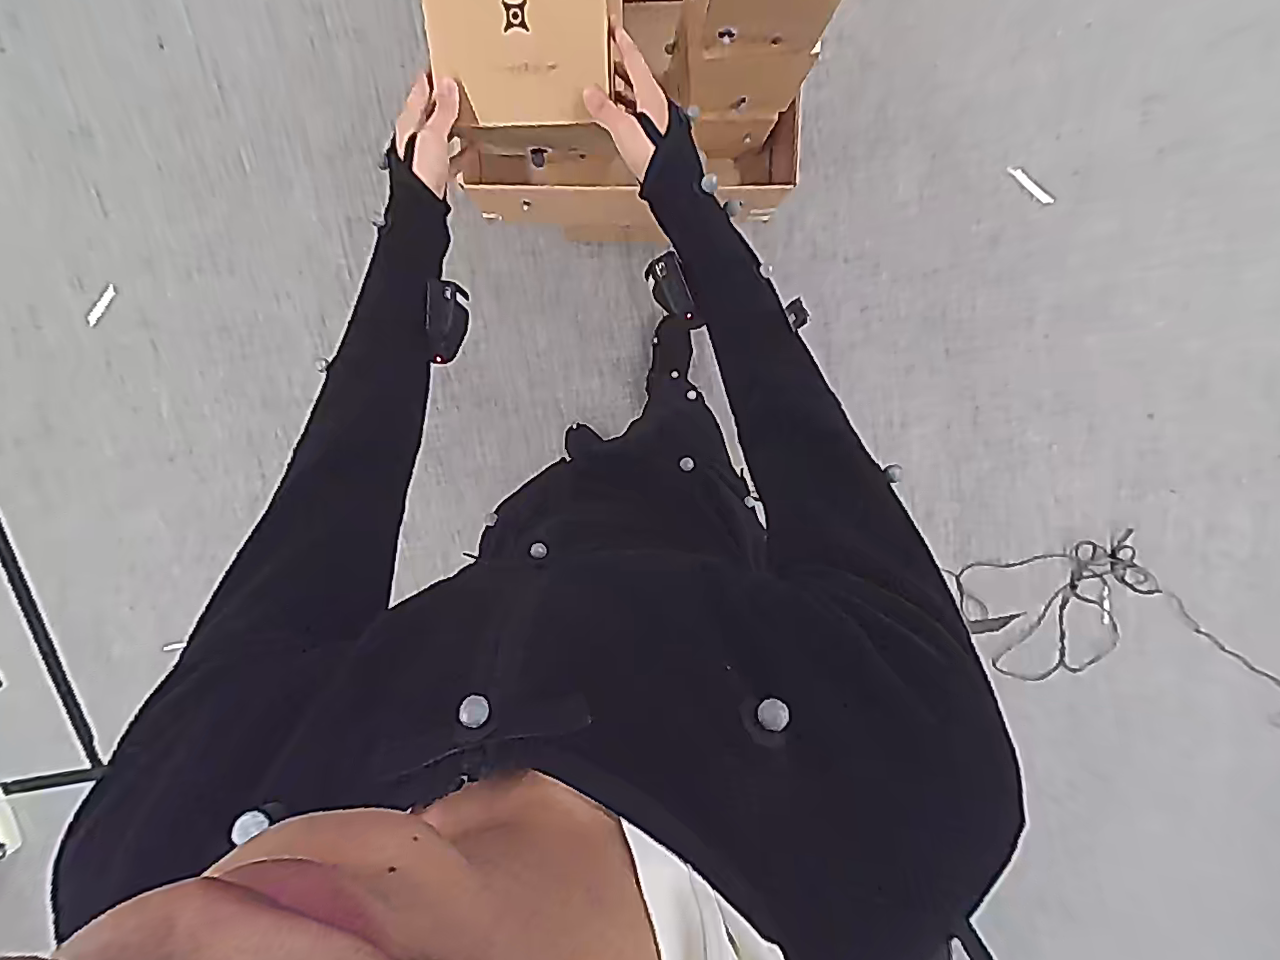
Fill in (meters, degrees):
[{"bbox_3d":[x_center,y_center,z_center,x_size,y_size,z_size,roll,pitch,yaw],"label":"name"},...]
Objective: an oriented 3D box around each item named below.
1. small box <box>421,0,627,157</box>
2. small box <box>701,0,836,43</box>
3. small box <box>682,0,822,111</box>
[{"bbox_3d":[-0.103,-0.439,0.539,0.168,0.176,0.179,1,113,4],"label":"small box"},{"bbox_3d":[0.169,-0.678,0.660,0.168,0.176,0.179,0,100,-2],"label":"small box"},{"bbox_3d":[0.163,-0.693,0.826,0.179,0.176,0.168,-4,100,-2],"label":"small box"}]
